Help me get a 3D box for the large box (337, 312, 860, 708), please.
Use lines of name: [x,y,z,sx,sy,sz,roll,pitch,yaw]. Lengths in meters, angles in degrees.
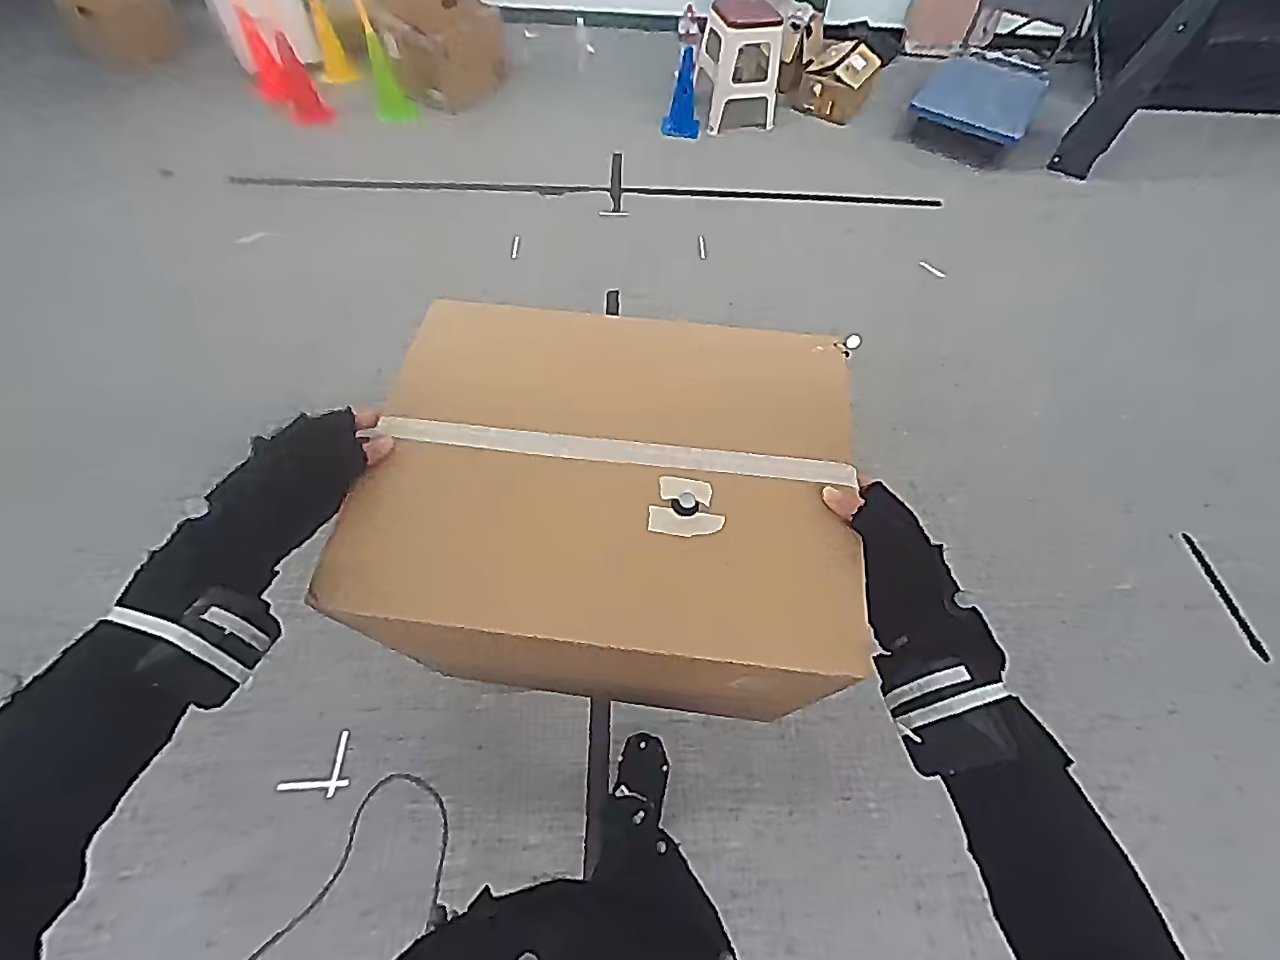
large box: [-0.023,0.051,0.603,0.408,0.320,0.320,7,62,3]
